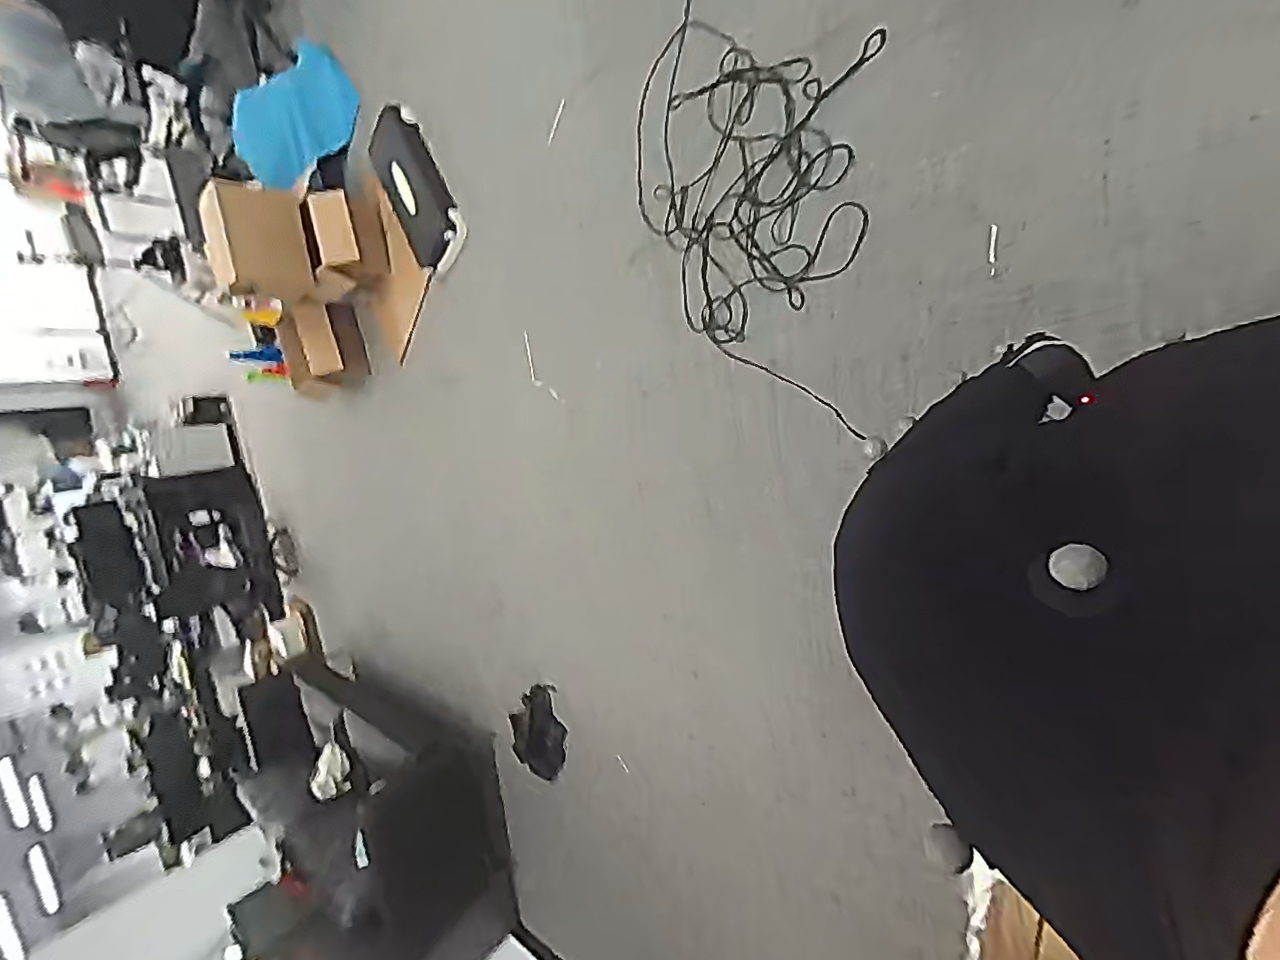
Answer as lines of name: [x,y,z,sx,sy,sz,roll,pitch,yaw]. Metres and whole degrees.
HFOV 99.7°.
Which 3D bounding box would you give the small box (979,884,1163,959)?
small box: [0.519,0.648,0.653,0.179,0.176,0.168,1,101,42]
